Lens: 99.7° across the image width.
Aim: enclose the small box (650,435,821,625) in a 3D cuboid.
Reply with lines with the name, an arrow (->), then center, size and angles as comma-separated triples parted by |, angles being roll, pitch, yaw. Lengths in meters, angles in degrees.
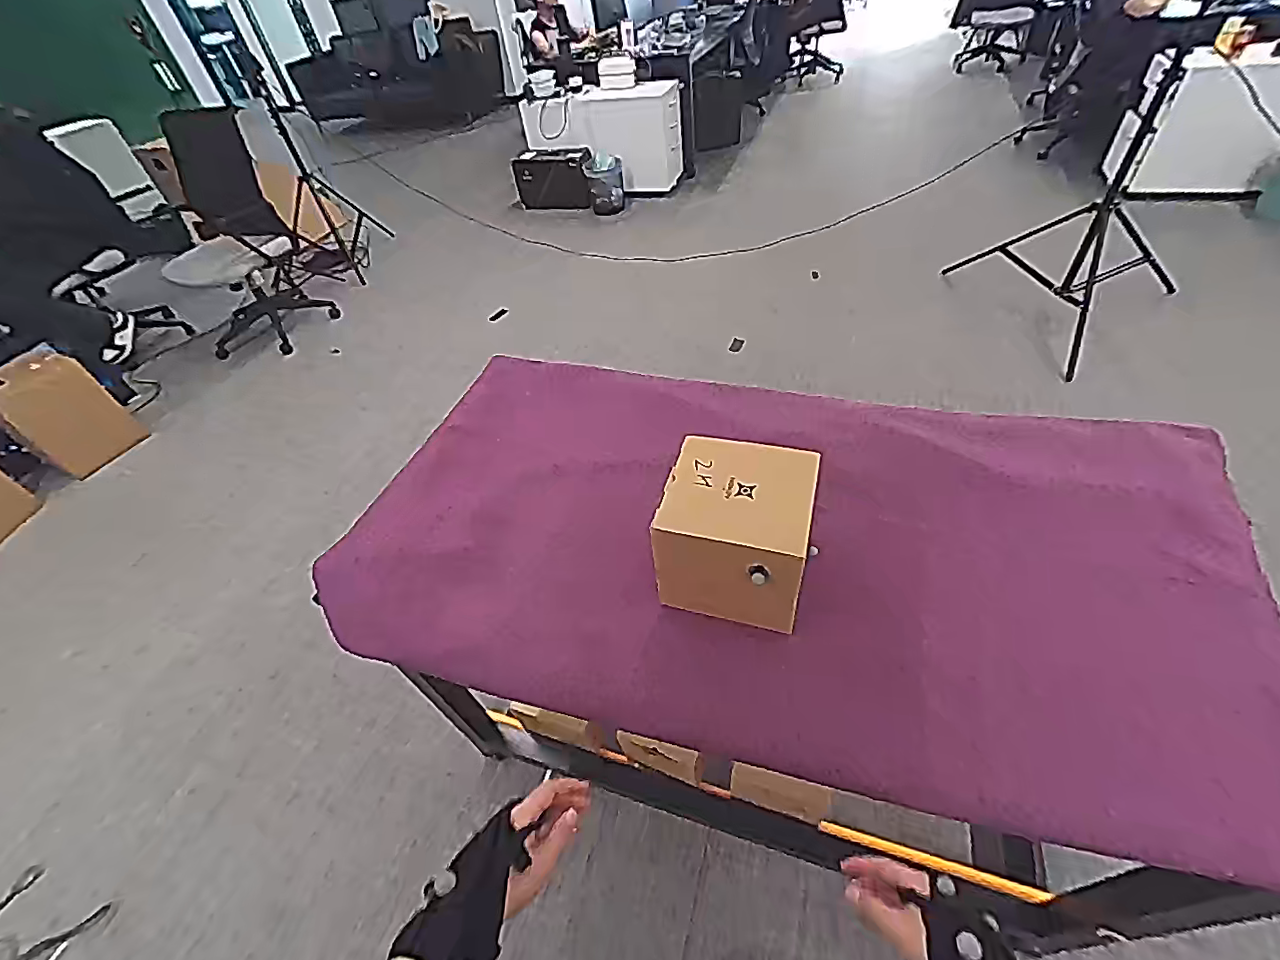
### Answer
small box -> 0.126, 0.066, 0.702 | 0.179, 0.176, 0.168 | 9, 47, 17
